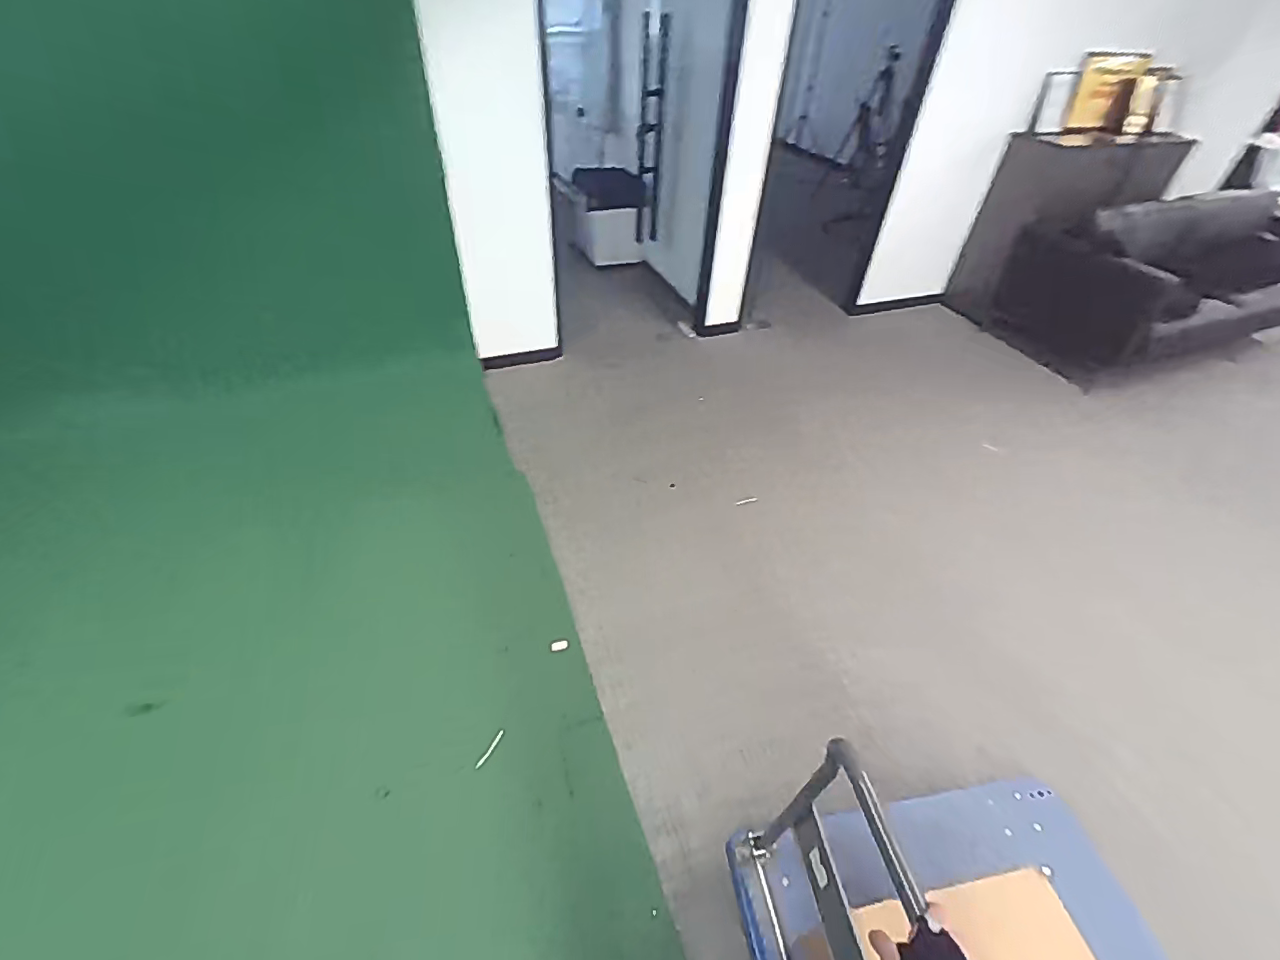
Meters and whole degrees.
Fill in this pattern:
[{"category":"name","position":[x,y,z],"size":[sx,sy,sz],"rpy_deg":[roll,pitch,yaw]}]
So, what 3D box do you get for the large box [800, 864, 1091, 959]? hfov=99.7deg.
[{"category":"large box","position":[0.566,0.956,0.971],"size":[0.408,0.320,0.320],"rpy_deg":[-5,43,-11]}]
